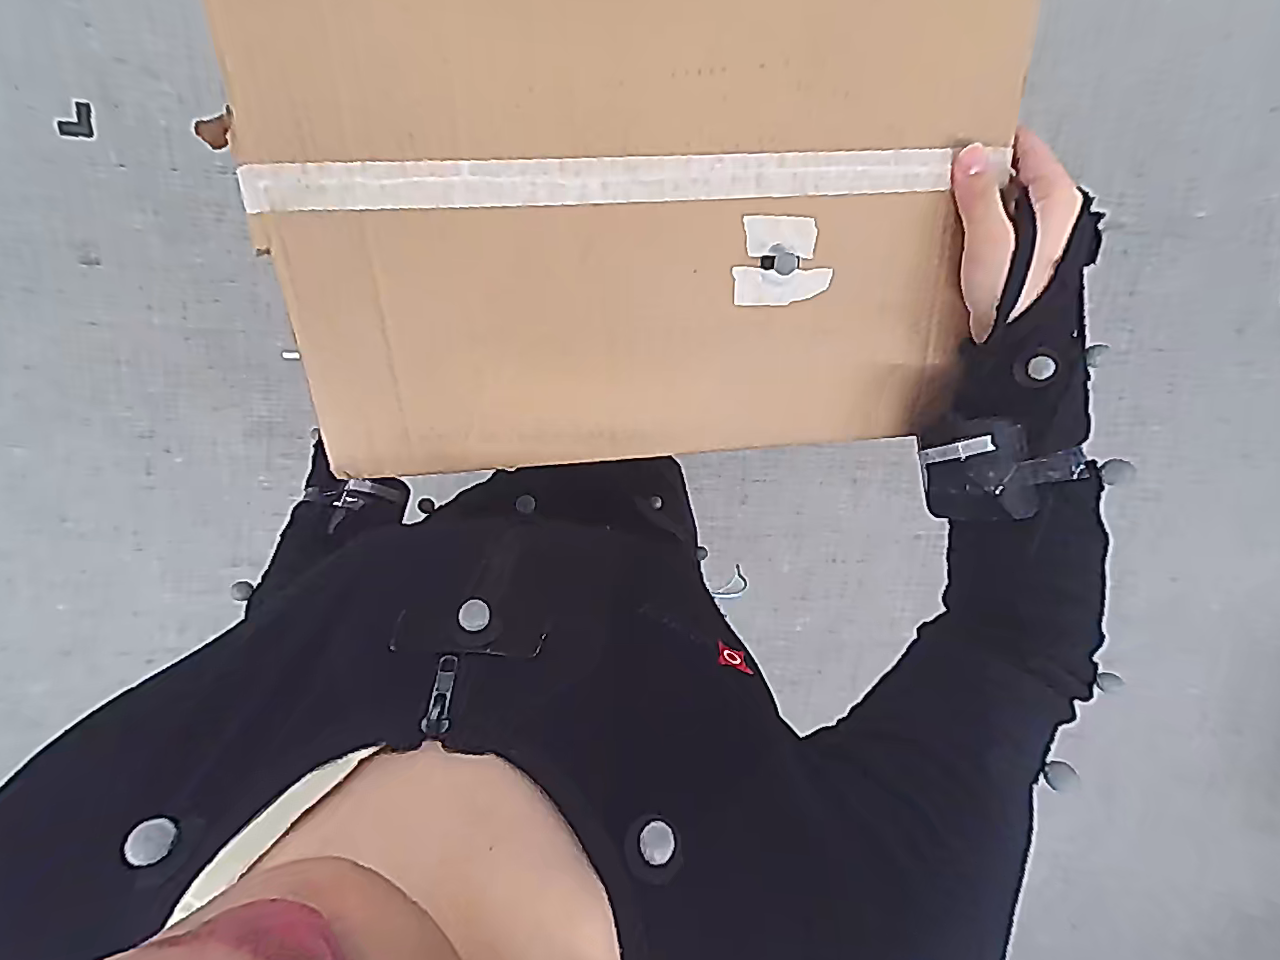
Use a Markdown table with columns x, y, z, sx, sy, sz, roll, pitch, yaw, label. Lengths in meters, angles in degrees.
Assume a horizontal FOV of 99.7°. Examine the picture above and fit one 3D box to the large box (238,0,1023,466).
| x | y | z | sx | sy | sz | roll | pitch | yaw | label |
| --- | --- | --- | --- | --- | --- | --- | --- | --- | --- |
| -0.009 | -0.222 | 0.436 | 0.408 | 0.320 | 0.320 | -6 | 112 | -7 | large box |
